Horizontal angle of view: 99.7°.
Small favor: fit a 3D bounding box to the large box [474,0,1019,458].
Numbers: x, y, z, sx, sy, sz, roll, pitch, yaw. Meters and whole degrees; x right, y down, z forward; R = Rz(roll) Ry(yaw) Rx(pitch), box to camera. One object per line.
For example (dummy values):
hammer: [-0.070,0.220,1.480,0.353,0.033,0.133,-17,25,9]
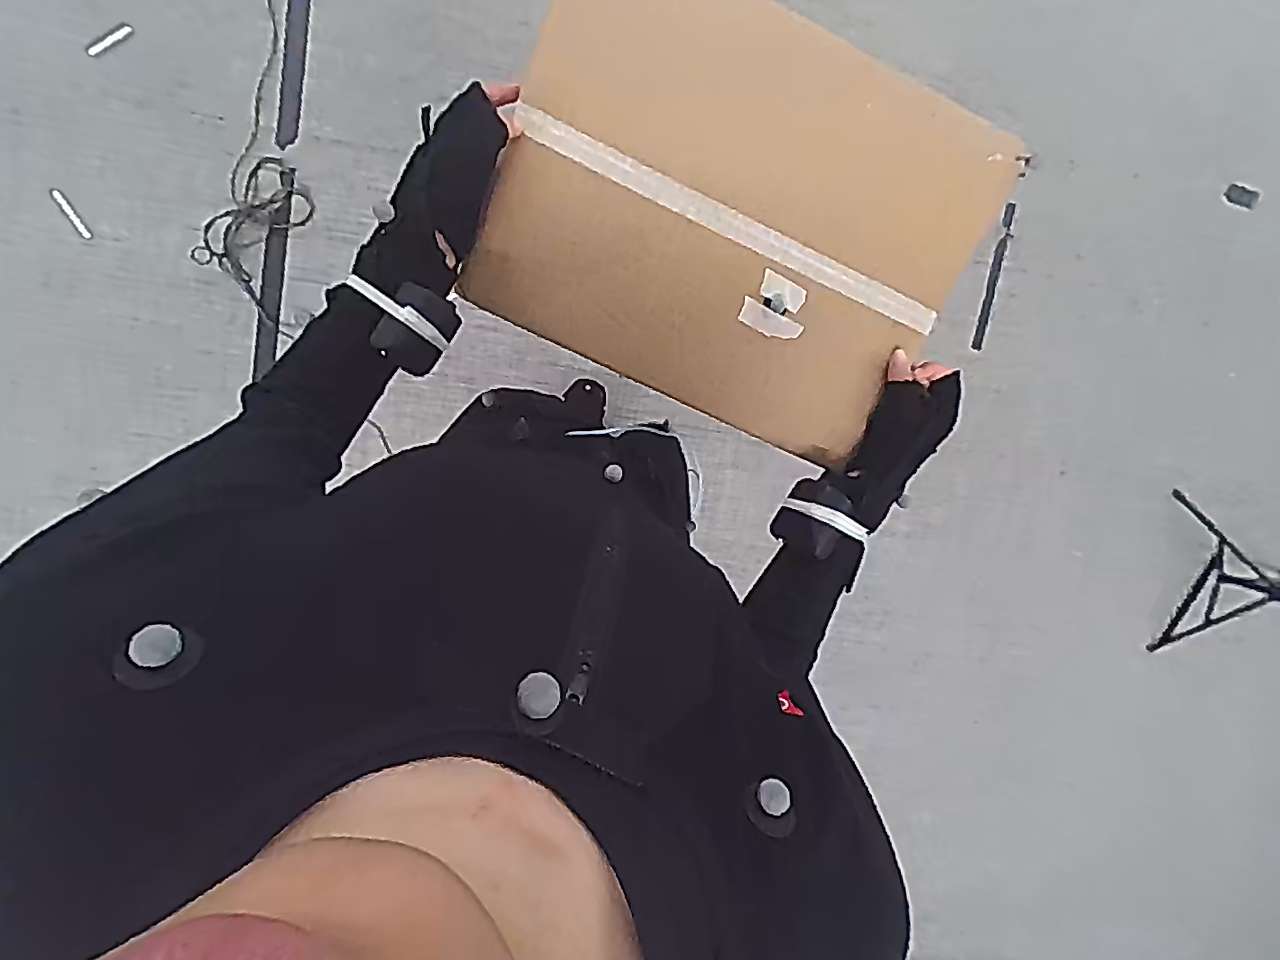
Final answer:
large box: [0.085,-0.271,0.622,0.408,0.320,0.320,24,106,-7]
